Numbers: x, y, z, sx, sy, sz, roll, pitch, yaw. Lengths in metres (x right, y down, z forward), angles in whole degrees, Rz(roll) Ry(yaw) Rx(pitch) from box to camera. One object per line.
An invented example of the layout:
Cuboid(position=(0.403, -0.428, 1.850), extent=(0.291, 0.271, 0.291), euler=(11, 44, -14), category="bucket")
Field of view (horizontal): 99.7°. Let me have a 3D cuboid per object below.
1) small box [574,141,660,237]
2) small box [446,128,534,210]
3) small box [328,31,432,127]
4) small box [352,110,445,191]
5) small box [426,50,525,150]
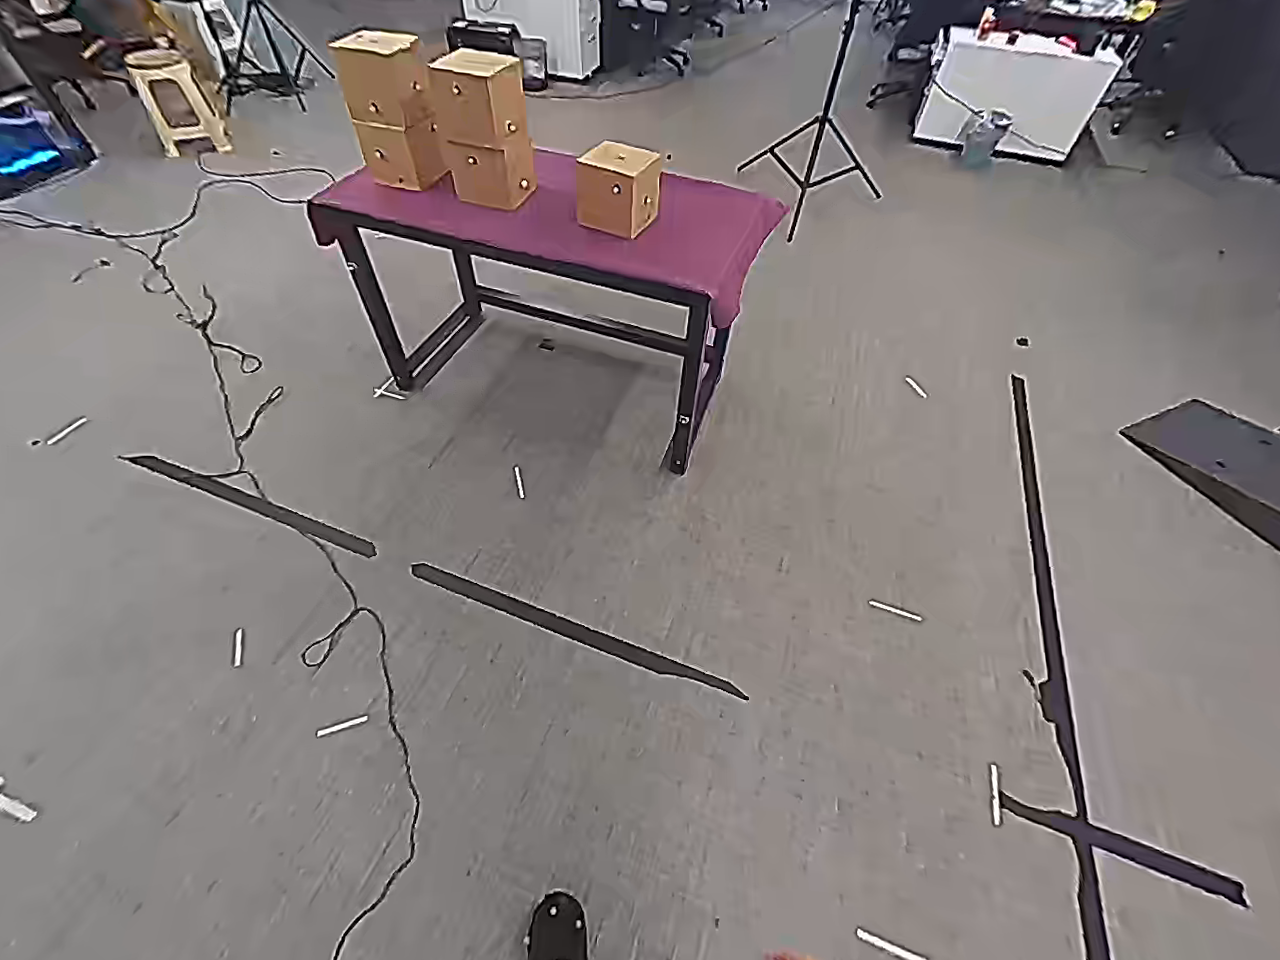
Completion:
Cuboid(position=(-0.062, -0.794, 1.483), extent=(0.179, 0.176, 0.168), euler=(23, 53, 15), category="small box")
Cuboid(position=(-0.423, -0.902, 1.551), extent=(0.179, 0.176, 0.168), euler=(16, 53, 8), category="small box")
Cuboid(position=(-0.698, -1.092, 1.479), extent=(0.179, 0.176, 0.168), euler=(13, 51, 7), category="small box")
Cuboid(position=(-0.702, -0.983, 1.602), extent=(0.168, 0.176, 0.179), euler=(14, 52, 8), category="small box")
Cuboid(position=(-0.421, -0.993, 1.417), extent=(0.179, 0.176, 0.168), euler=(18, 54, 10), category="small box")
